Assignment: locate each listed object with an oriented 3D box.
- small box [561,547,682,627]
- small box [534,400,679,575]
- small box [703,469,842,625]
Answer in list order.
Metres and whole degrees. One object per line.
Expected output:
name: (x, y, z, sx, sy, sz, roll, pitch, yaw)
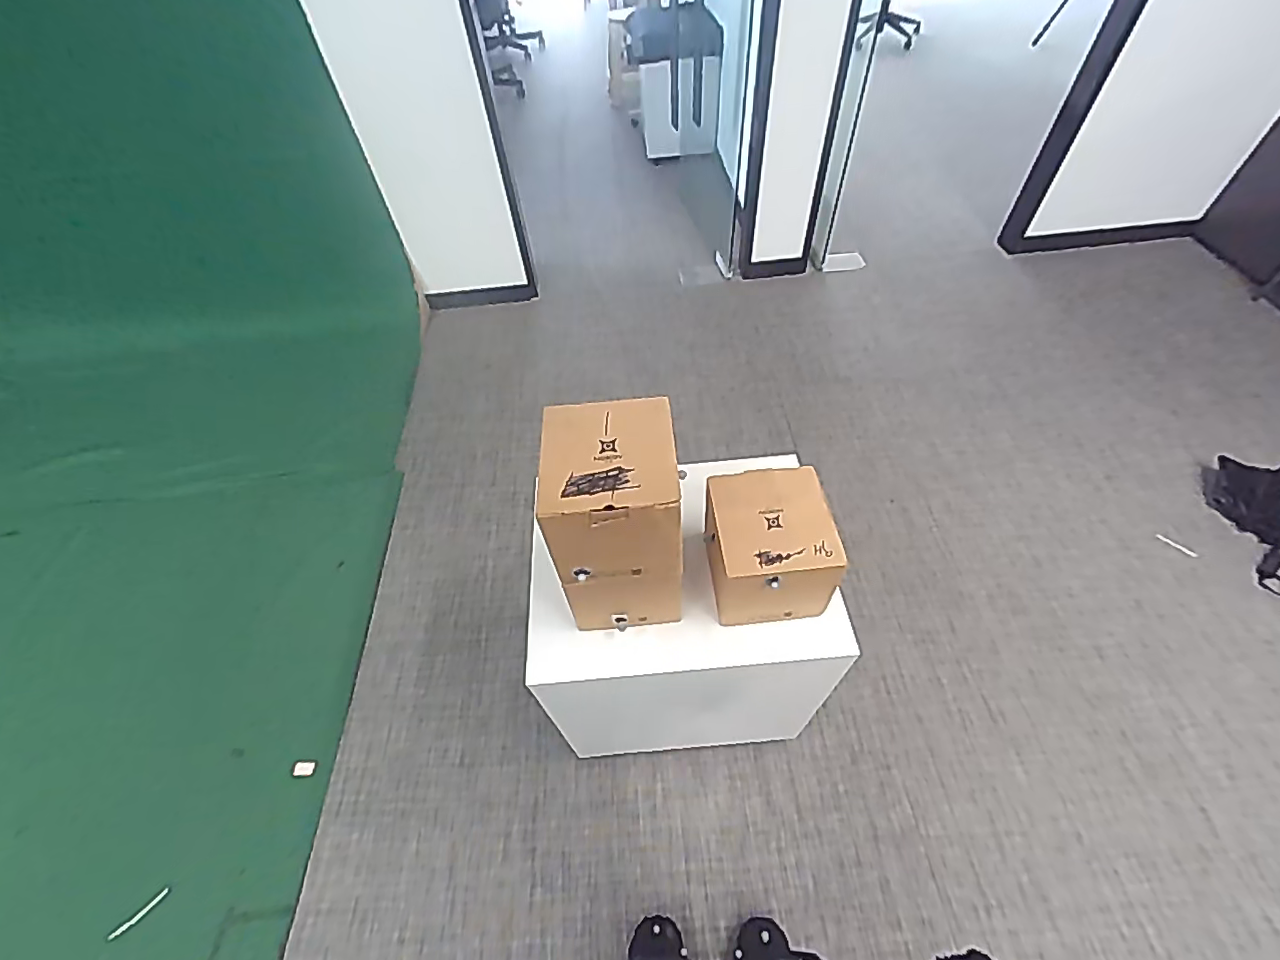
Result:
small box: (-0.029, 0.109, 0.842, 0.168, 0.176, 0.179, -7, 53, -1)
small box: (-0.037, 0.017, 0.726, 0.168, 0.176, 0.179, -4, 51, 1)
small box: (0.191, 0.106, 0.845, 0.168, 0.176, 0.179, -5, 51, 0)
